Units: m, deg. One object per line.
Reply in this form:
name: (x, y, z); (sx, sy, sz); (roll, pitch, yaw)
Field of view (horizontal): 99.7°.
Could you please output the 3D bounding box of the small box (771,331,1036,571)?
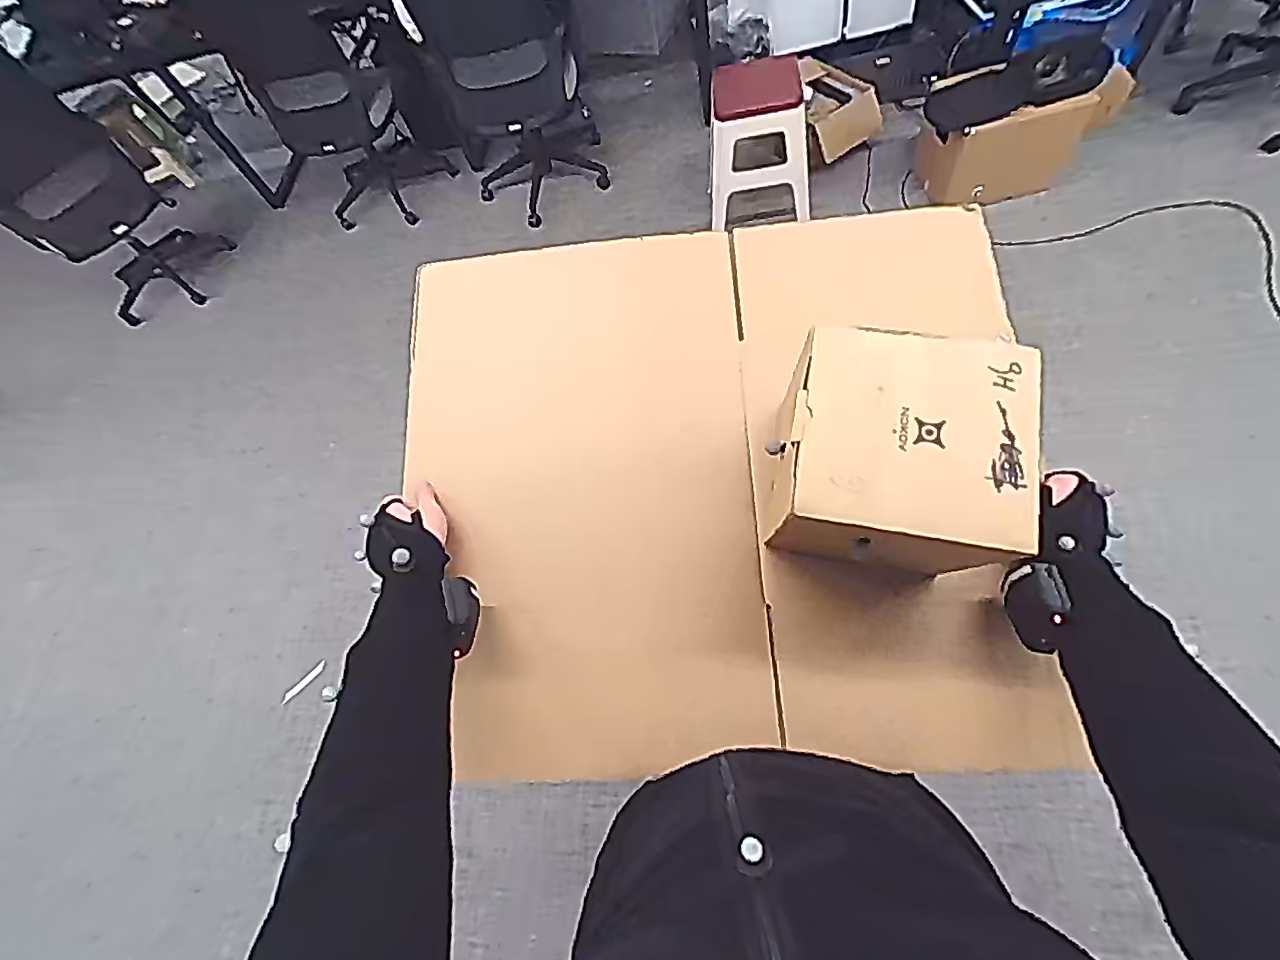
small box: (0.224, -0.015, 0.501); (0.179, 0.176, 0.168); (9, 77, 9)
